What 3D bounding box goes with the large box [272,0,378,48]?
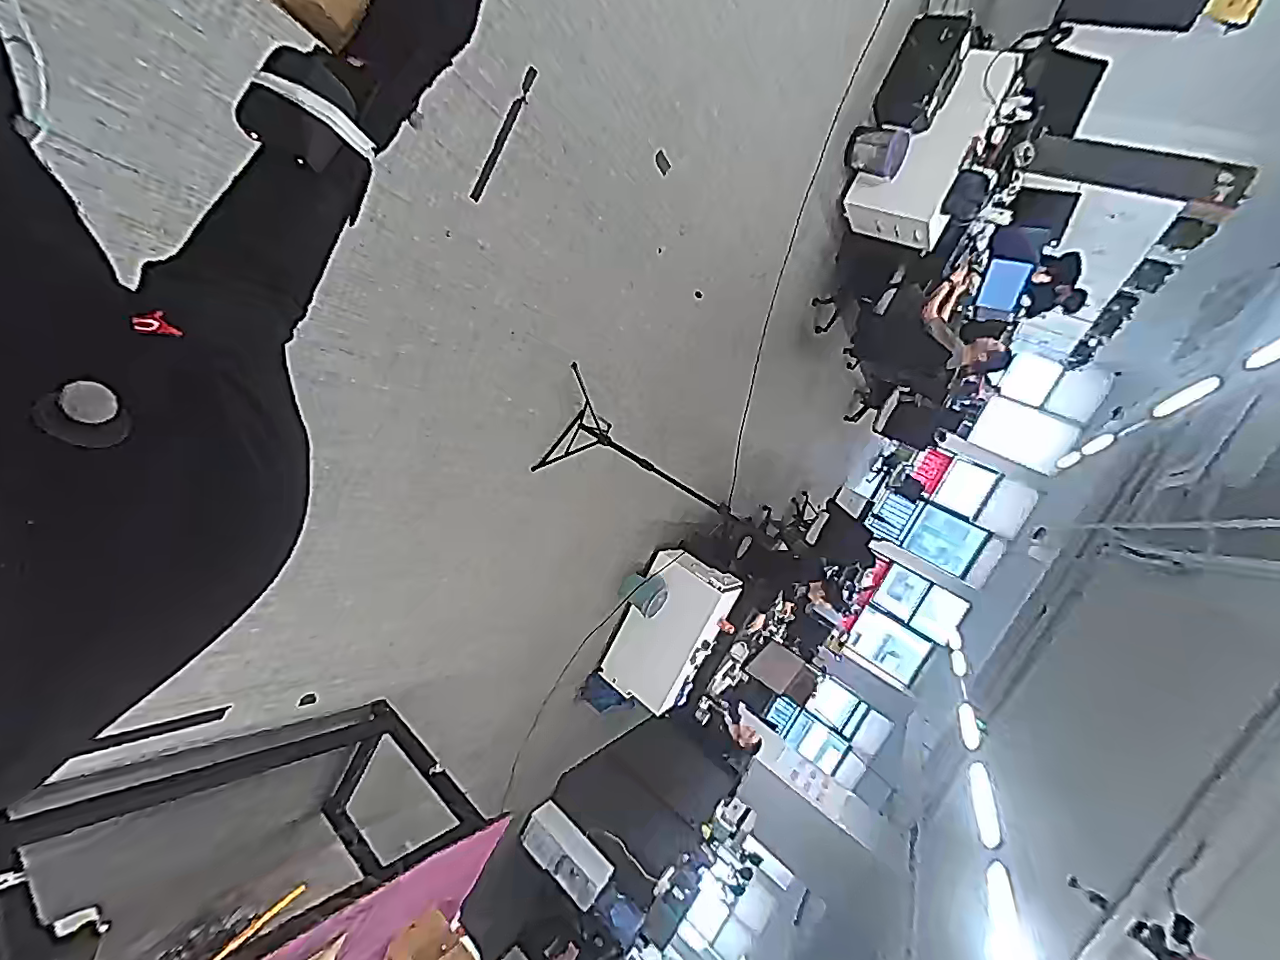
[{"bbox_3d":[-0.310,-0.575,0.286,0.320,0.320,0.408,-47,153,9],"label":"large box"}]
